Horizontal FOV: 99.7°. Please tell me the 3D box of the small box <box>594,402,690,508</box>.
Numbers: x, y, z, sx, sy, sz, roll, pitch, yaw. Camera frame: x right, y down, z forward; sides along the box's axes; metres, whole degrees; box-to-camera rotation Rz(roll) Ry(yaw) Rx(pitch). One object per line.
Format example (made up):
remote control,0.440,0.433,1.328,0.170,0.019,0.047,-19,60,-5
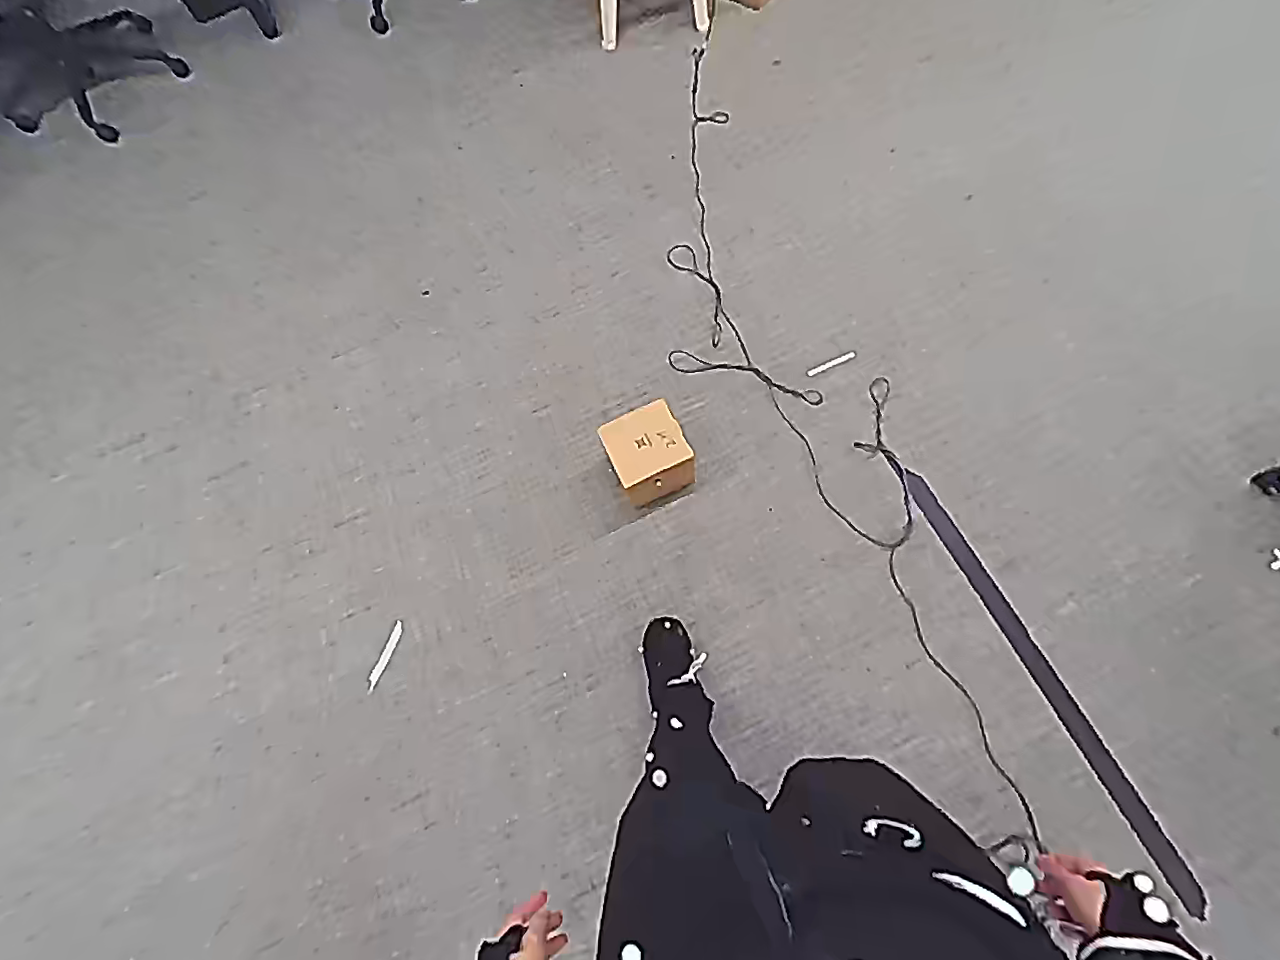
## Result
small box,0.012,-0.053,1.296,0.179,0.176,0.168,-25,71,-4
